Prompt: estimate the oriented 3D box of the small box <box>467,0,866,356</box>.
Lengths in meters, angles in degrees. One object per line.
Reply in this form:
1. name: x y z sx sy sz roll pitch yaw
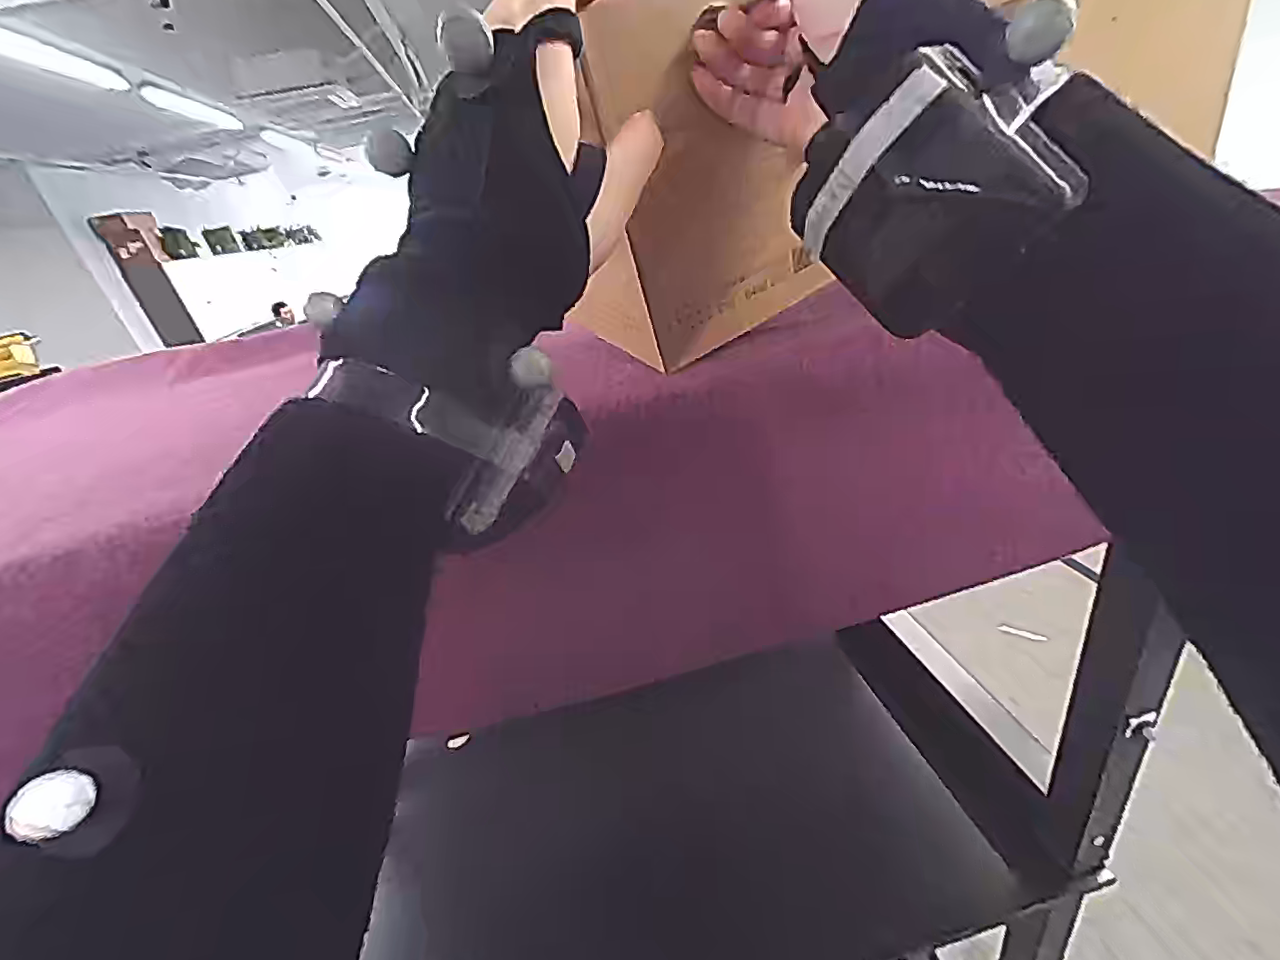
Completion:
1. small box: 0.021 -0.198 0.341 0.168 0.176 0.179 -30 37 -15
